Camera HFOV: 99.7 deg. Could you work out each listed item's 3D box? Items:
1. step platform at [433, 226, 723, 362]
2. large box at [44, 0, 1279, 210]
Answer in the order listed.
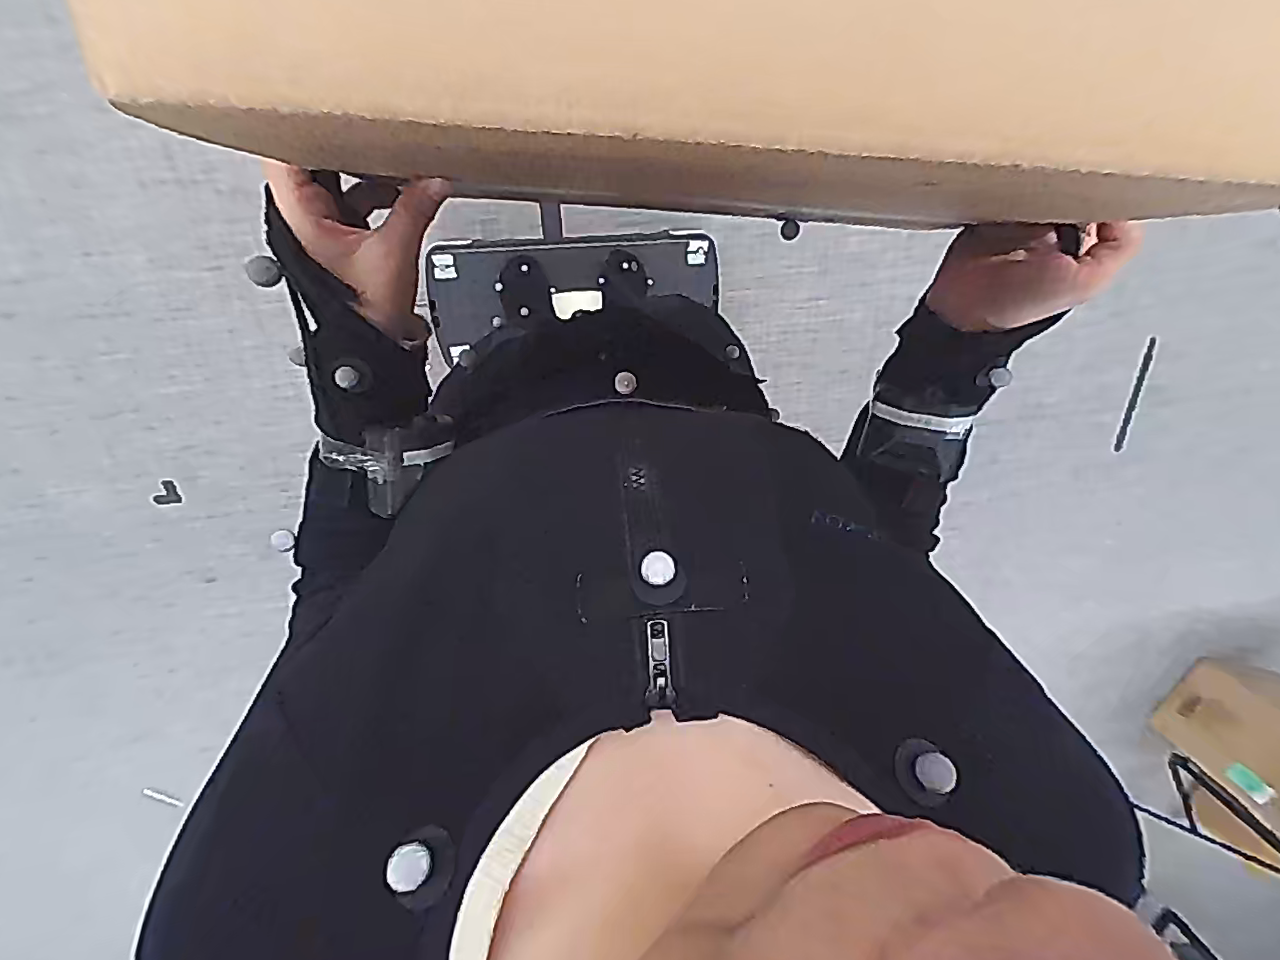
[{"bbox_3d":[-0.143,-0.450,1.322,0.684,0.204,0.286,-2,116,-9],"label":"step platform"},{"bbox_3d":[0.030,-0.306,0.239,0.408,0.320,0.320,1,115,-3],"label":"large box"}]
